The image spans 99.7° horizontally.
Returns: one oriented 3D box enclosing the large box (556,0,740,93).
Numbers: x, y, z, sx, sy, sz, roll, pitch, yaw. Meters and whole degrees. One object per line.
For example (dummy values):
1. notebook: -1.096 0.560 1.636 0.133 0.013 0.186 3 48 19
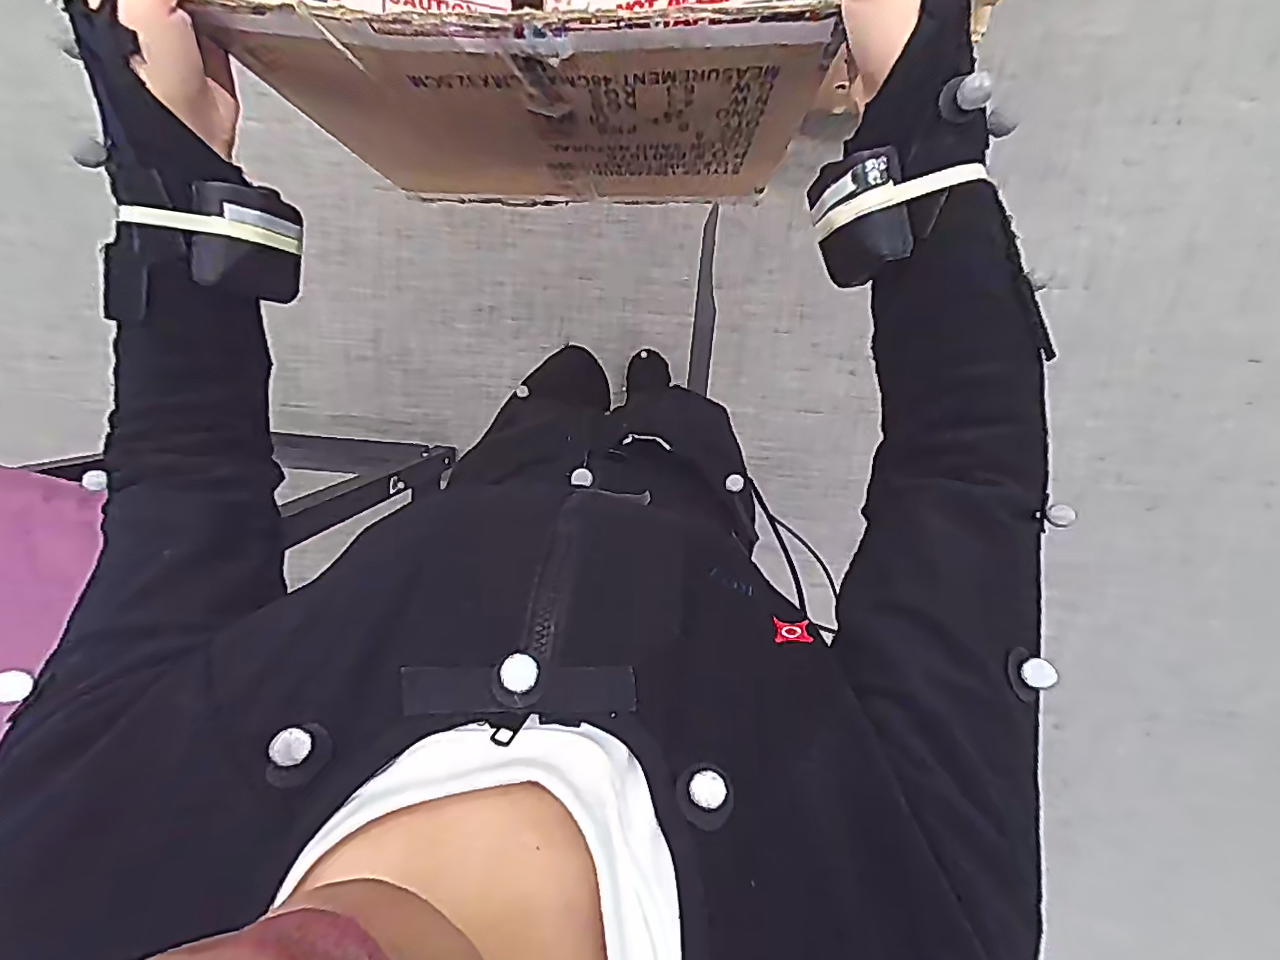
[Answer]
1. large box: 0.026 -1.013 0.996 0.320 0.320 0.408 4 104 3
